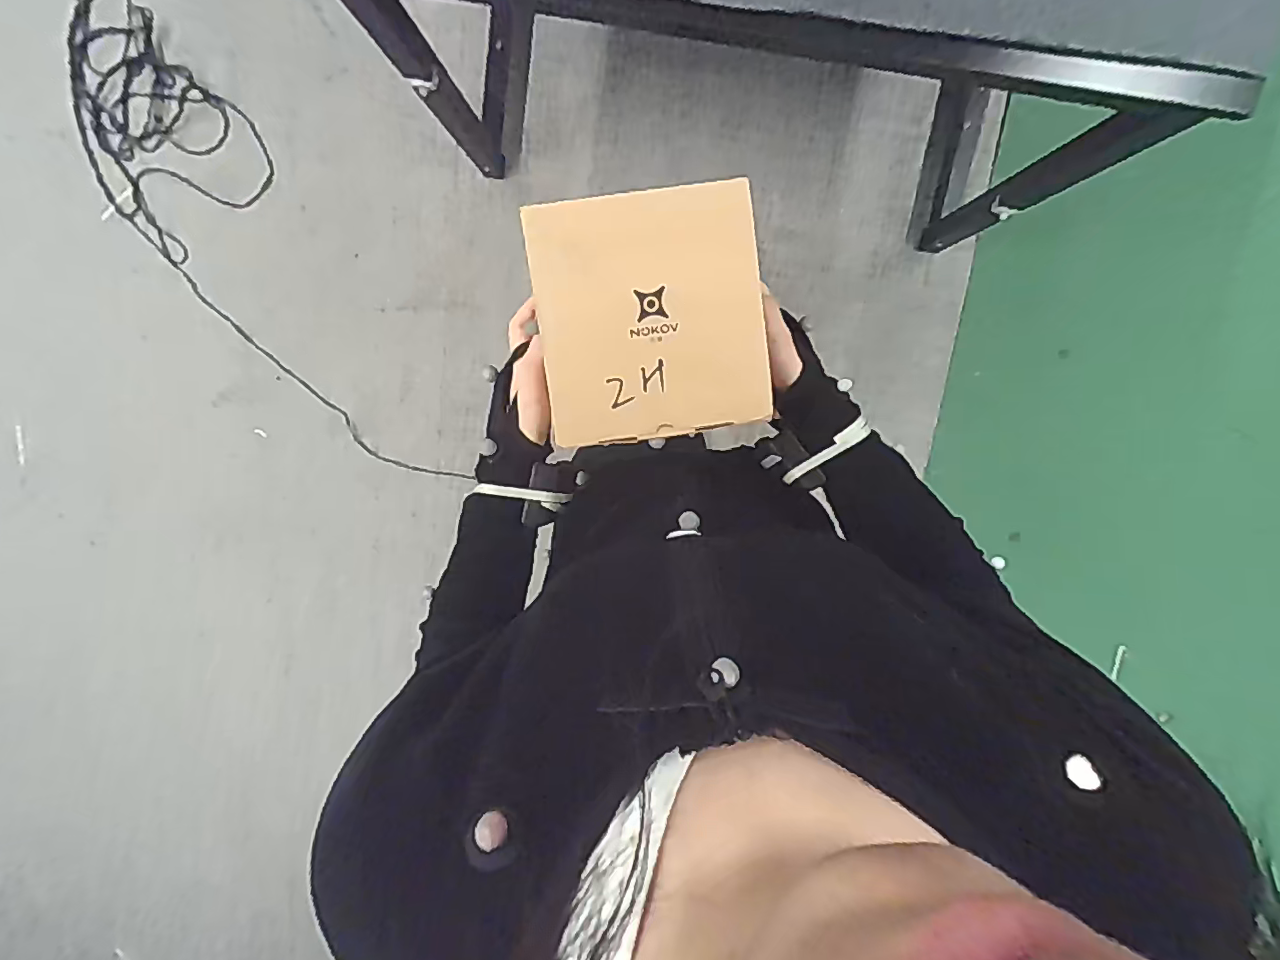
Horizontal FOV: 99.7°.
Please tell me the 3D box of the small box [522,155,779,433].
[{"bbox_3d":[0.005,-0.136,0.456,0.168,0.176,0.179,-8,97,-2],"label":"small box"}]
